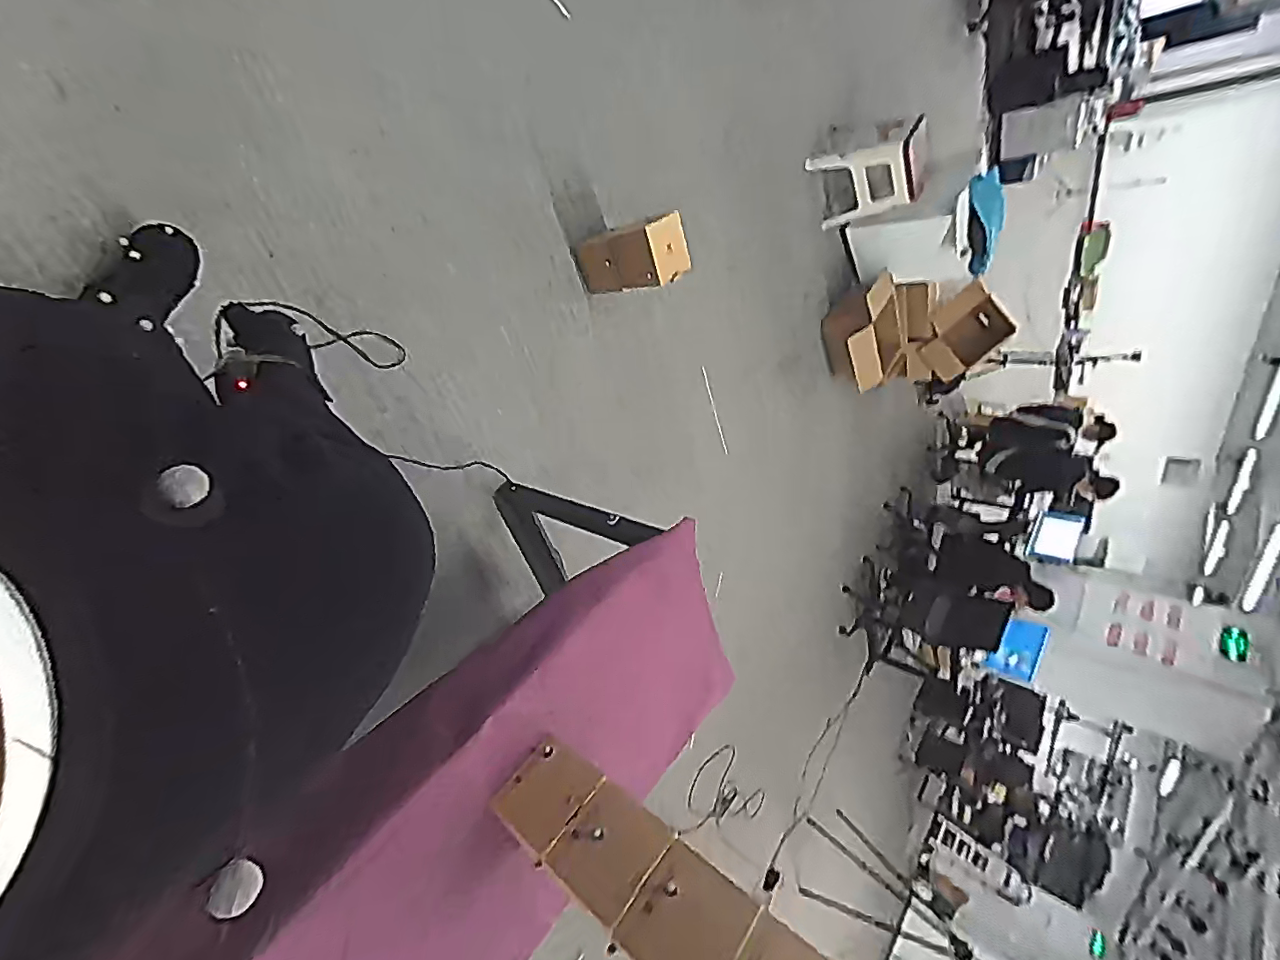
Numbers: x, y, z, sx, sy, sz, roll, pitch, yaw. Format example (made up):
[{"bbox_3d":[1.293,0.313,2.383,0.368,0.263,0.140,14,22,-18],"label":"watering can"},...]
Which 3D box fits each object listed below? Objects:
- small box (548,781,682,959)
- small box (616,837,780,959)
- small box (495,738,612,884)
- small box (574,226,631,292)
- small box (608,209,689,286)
[{"bbox_3d":[-0.027,0.668,0.938,0.168,0.176,0.179,-41,127,-33],"label":"small box"},{"bbox_3d":[0.092,0.701,0.831,0.168,0.176,0.179,-42,128,-33],"label":"small box"},{"bbox_3d":[-0.149,0.633,1.043,0.168,0.176,0.179,-41,128,-33],"label":"small box"},{"bbox_3d":[-0.090,-0.749,1.829,0.179,0.176,0.168,-44,129,-31],"label":"small box"},{"bbox_3d":[0.026,-0.731,1.714,0.168,0.176,0.179,-44,129,-31],"label":"small box"}]
